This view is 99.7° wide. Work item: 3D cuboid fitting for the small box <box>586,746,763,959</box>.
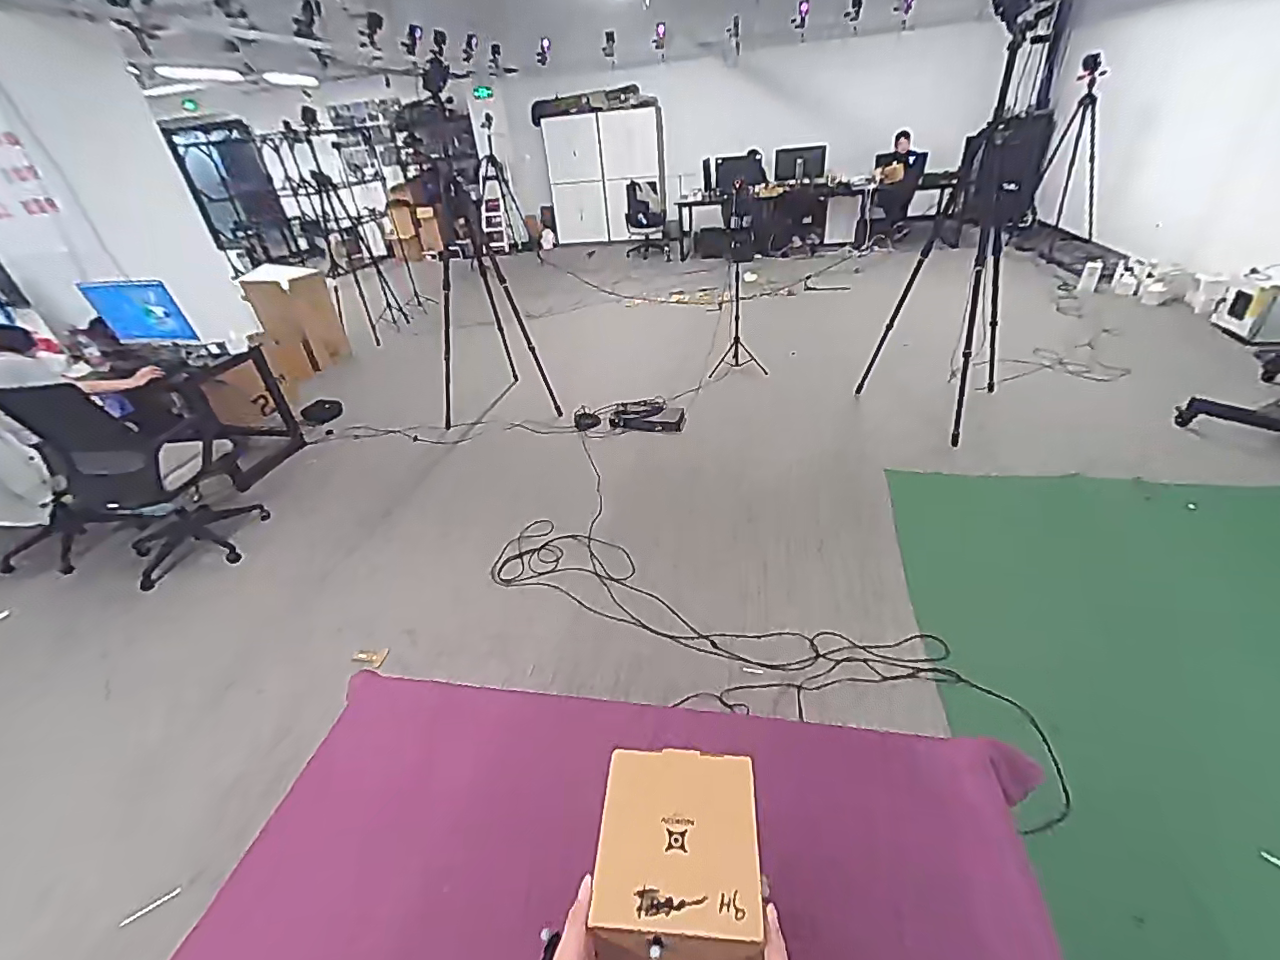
[{"bbox_3d":[0.044,0.430,0.602,0.168,0.176,0.179,-1,32,8],"label":"small box"}]
